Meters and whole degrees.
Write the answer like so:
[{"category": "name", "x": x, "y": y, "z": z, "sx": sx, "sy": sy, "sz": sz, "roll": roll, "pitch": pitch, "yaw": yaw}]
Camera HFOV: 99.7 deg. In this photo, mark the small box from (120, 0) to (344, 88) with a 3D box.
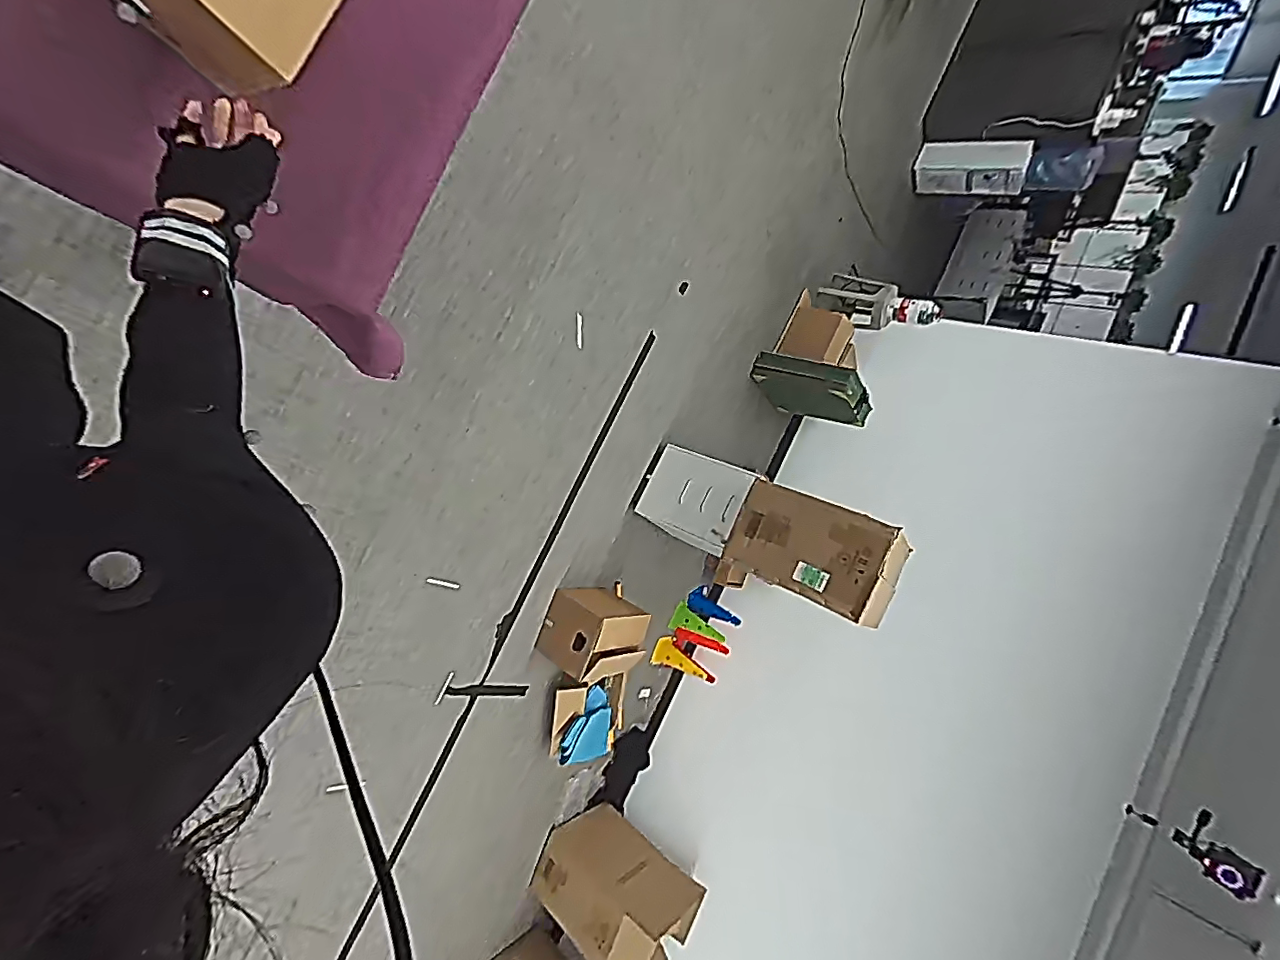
[{"category": "small box", "x": -0.385, "y": -0.500, "z": 0.490, "sx": 0.168, "sy": 0.176, "sz": 0.179, "roll": 35, "pitch": 81, "yaw": -55}]
